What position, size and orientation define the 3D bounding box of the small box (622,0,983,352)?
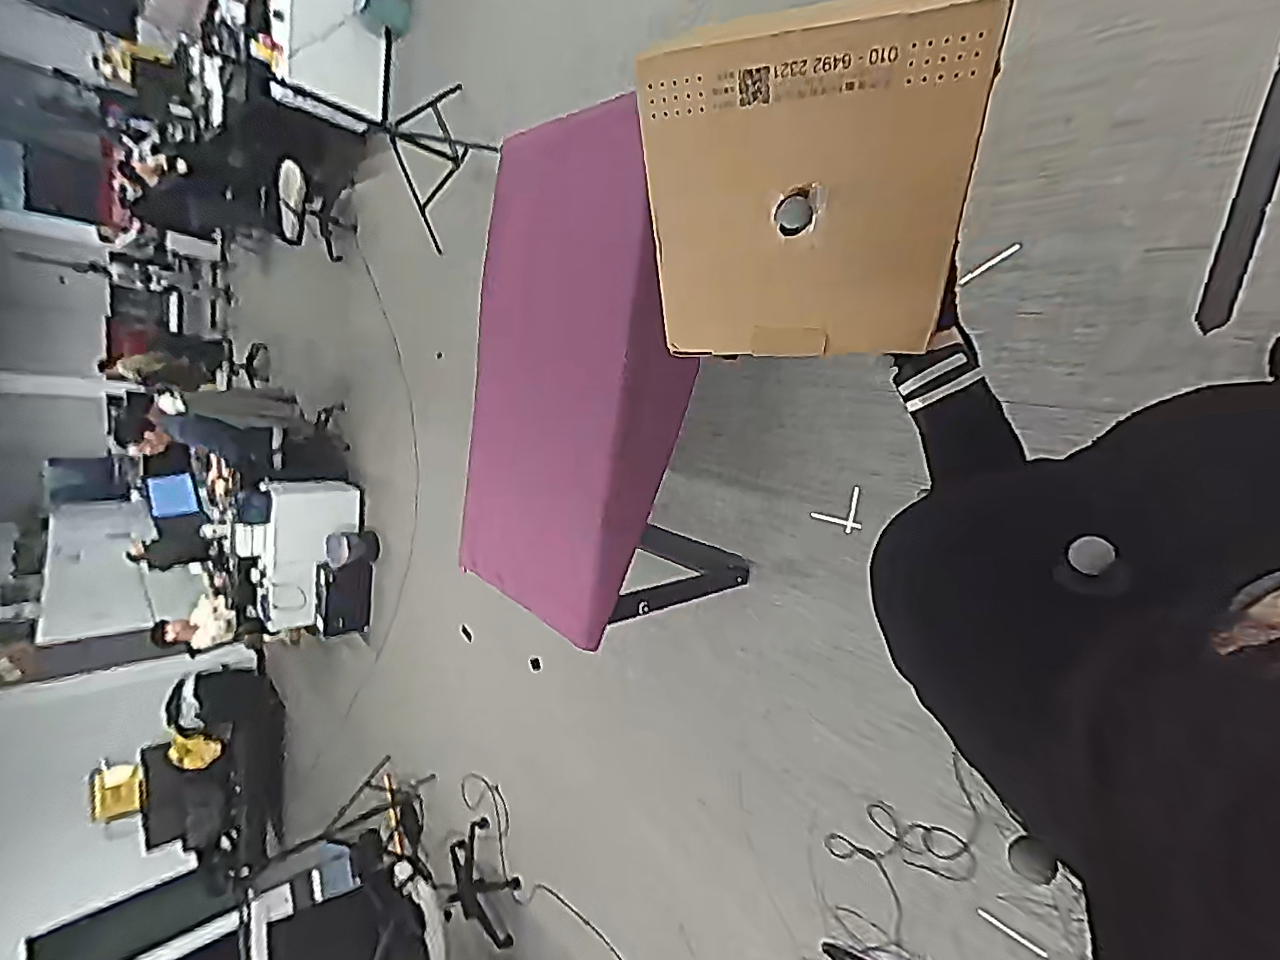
[{"bbox_3d":[0.099,-0.199,0.344,0.168,0.179,0.176,4,133,19],"label":"small box"}]
